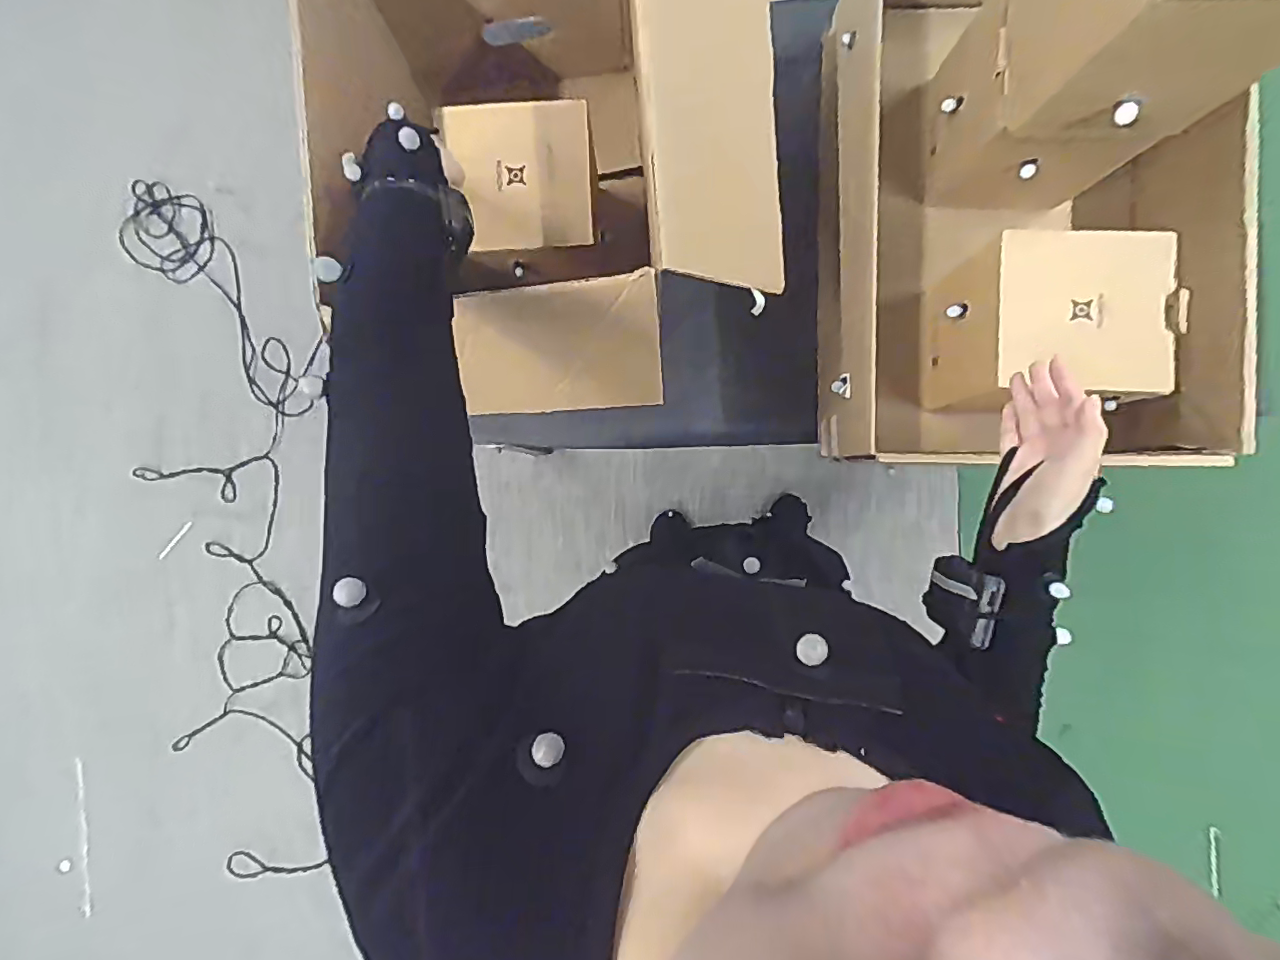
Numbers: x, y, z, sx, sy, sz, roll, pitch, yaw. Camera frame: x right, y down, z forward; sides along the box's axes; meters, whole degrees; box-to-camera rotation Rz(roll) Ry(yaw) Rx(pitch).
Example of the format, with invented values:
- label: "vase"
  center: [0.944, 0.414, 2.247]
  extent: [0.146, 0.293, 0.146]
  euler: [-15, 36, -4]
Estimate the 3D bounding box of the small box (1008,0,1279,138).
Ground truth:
- label: "small box"
  center: [0.451, -0.432, 0.464]
  extent: [0.168, 0.176, 0.179]
  euler: [1, 92, 3]
